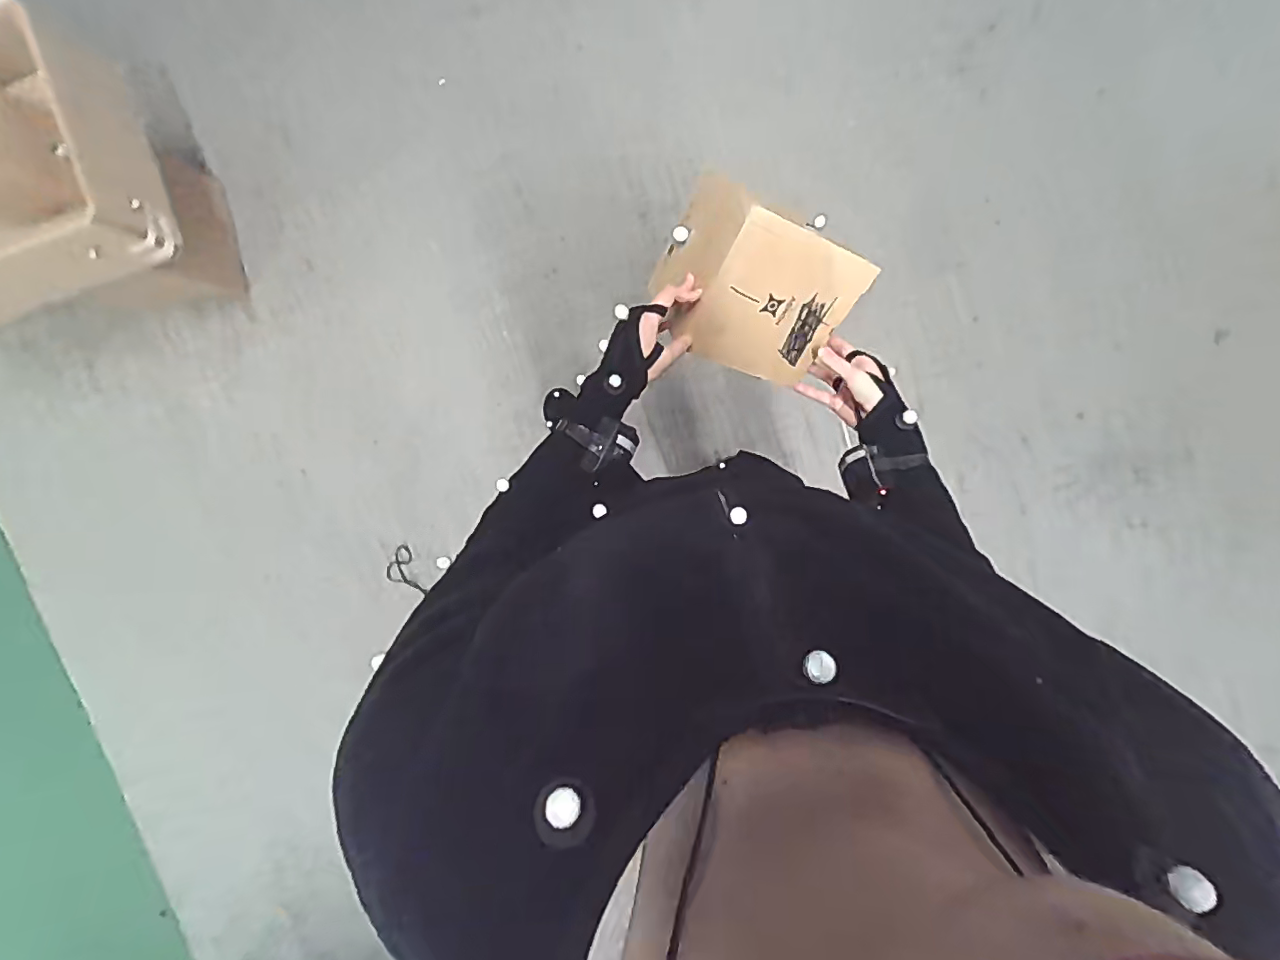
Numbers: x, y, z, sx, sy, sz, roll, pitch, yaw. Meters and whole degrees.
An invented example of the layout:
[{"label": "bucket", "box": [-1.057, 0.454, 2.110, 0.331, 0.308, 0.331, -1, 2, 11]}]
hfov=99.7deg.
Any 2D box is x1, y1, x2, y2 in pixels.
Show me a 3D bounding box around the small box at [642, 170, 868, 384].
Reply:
[{"label": "small box", "box": [0.122, -0.244, 0.646, 0.179, 0.176, 0.168, 11, 126, -23]}]
